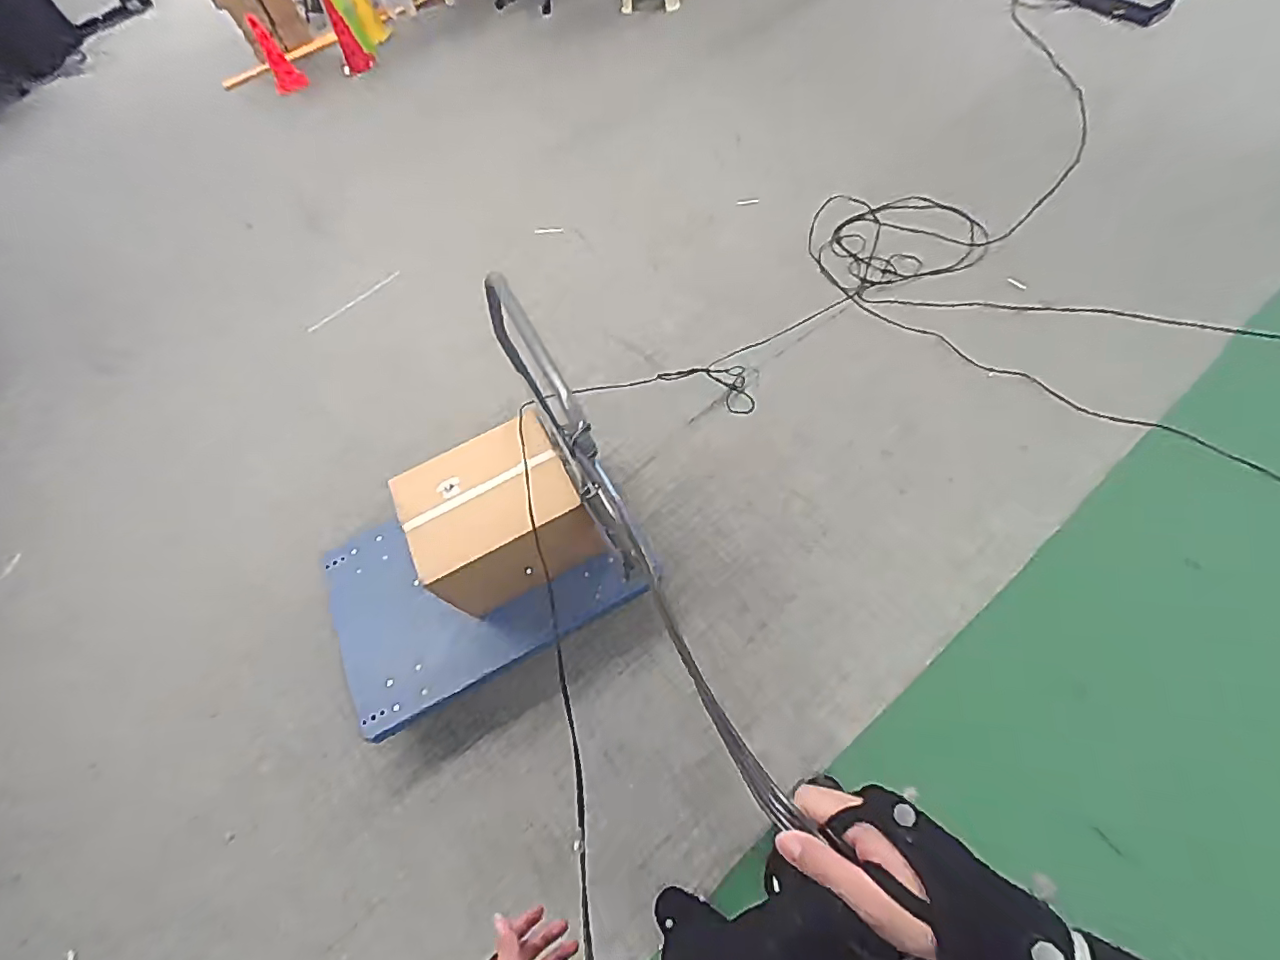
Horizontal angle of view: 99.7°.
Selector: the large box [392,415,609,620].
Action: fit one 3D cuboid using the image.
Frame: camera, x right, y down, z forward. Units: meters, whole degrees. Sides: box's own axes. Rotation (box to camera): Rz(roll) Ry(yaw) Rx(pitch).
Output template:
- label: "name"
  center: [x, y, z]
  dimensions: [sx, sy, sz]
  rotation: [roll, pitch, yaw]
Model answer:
- label: "large box"
  center: [-0.344, 0.107, 1.405]
  dimensions: [0.408, 0.320, 0.320]
  rotation: [-28, 62, -5]
